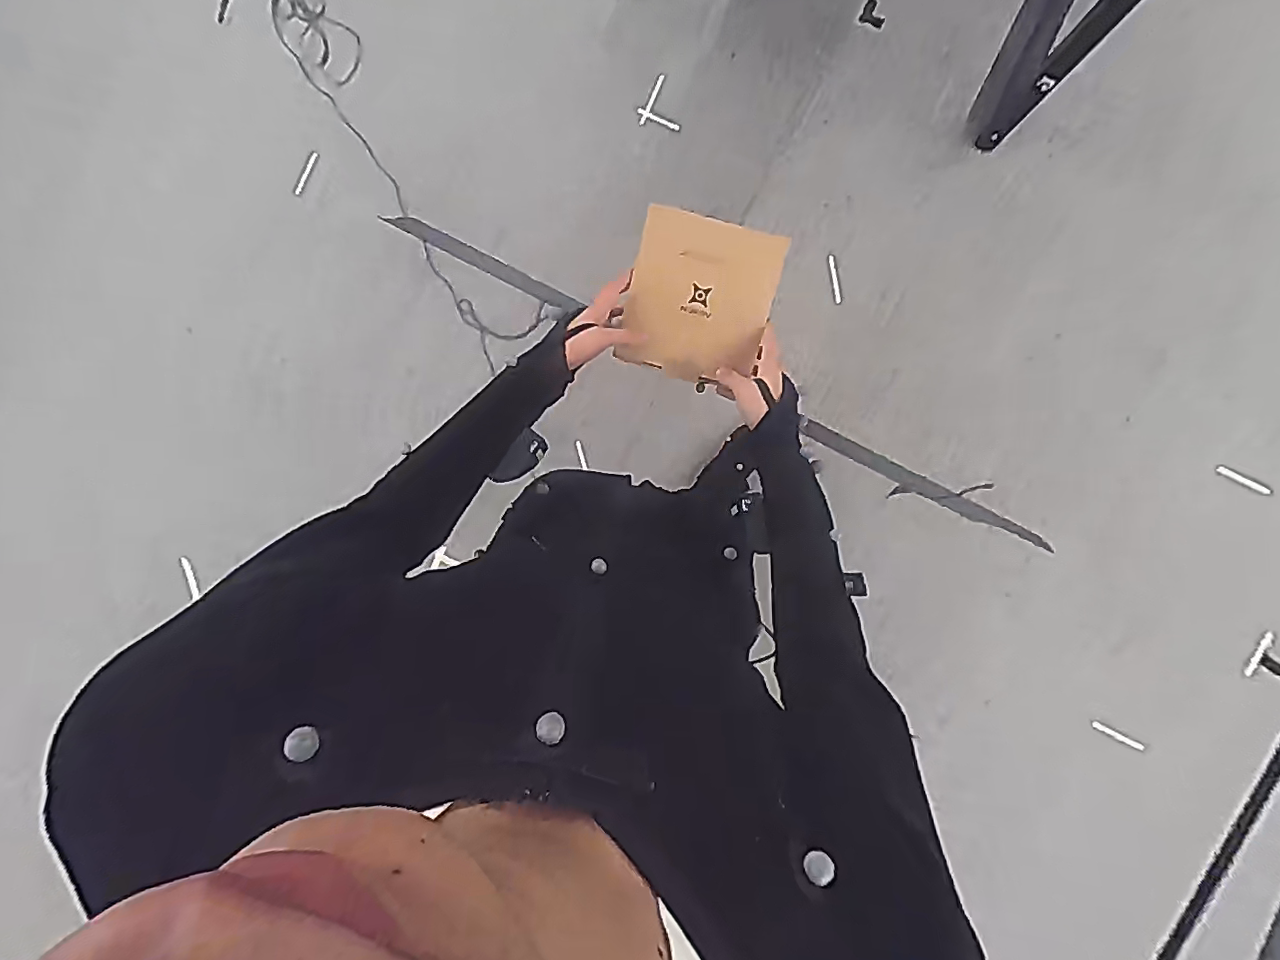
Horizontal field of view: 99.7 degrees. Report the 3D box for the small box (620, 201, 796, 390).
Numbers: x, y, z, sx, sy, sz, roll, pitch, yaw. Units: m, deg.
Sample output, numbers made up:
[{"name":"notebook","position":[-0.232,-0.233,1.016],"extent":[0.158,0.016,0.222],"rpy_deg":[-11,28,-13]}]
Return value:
[{"name":"small box","position":[0.077,-0.225,0.695],"extent":[0.168,0.176,0.179],"rpy_deg":[14,102,-3]}]
